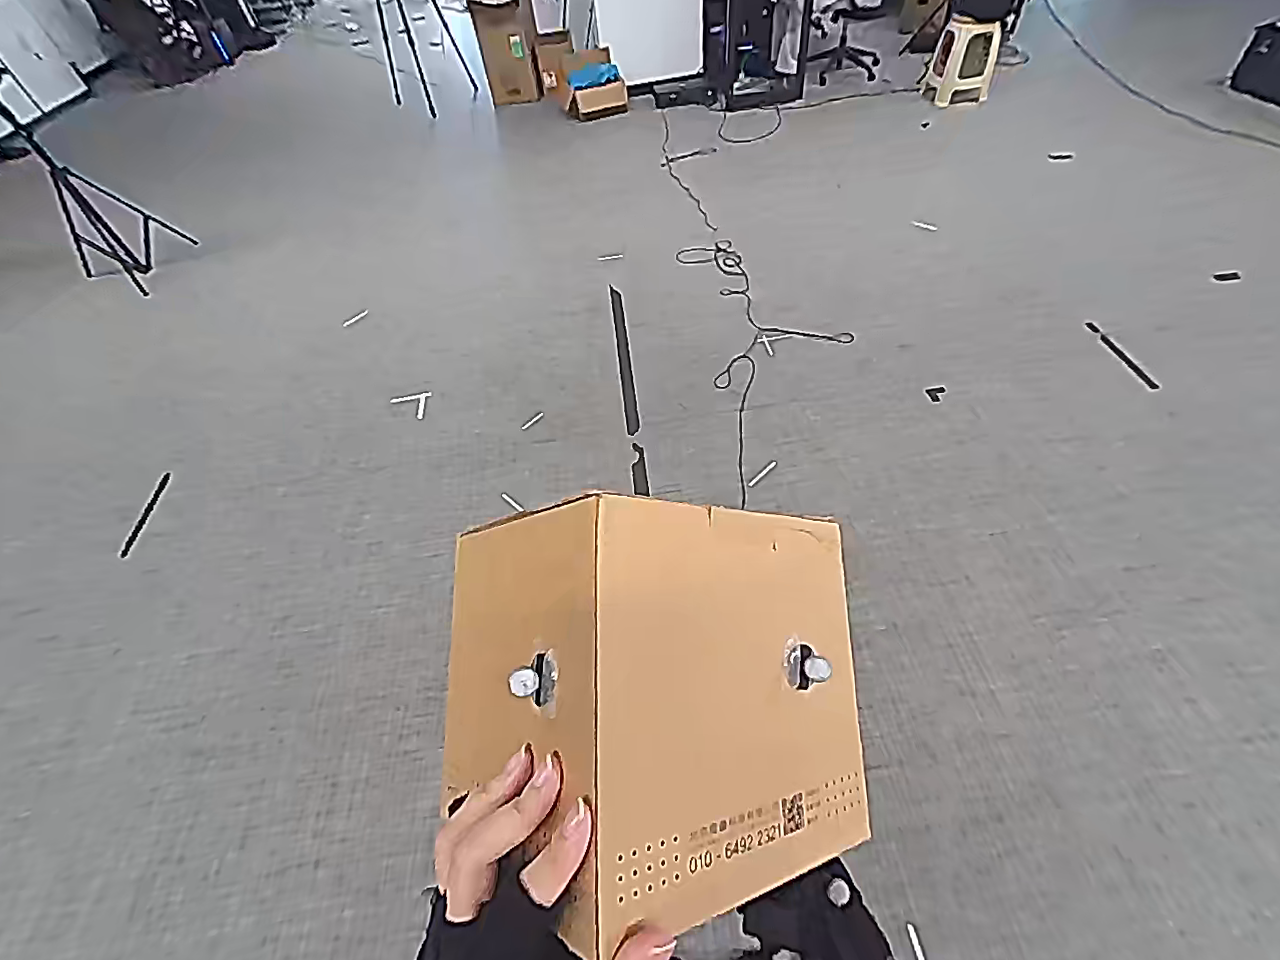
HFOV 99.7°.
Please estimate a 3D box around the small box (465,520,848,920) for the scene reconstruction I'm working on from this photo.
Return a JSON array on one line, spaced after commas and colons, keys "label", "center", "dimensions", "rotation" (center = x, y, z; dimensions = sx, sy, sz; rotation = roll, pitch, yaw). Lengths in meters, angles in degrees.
[{"label": "small box", "center": [0.003, 0.122, 0.328], "dimensions": [0.168, 0.179, 0.176], "rotation": [9, 74, -35]}]
